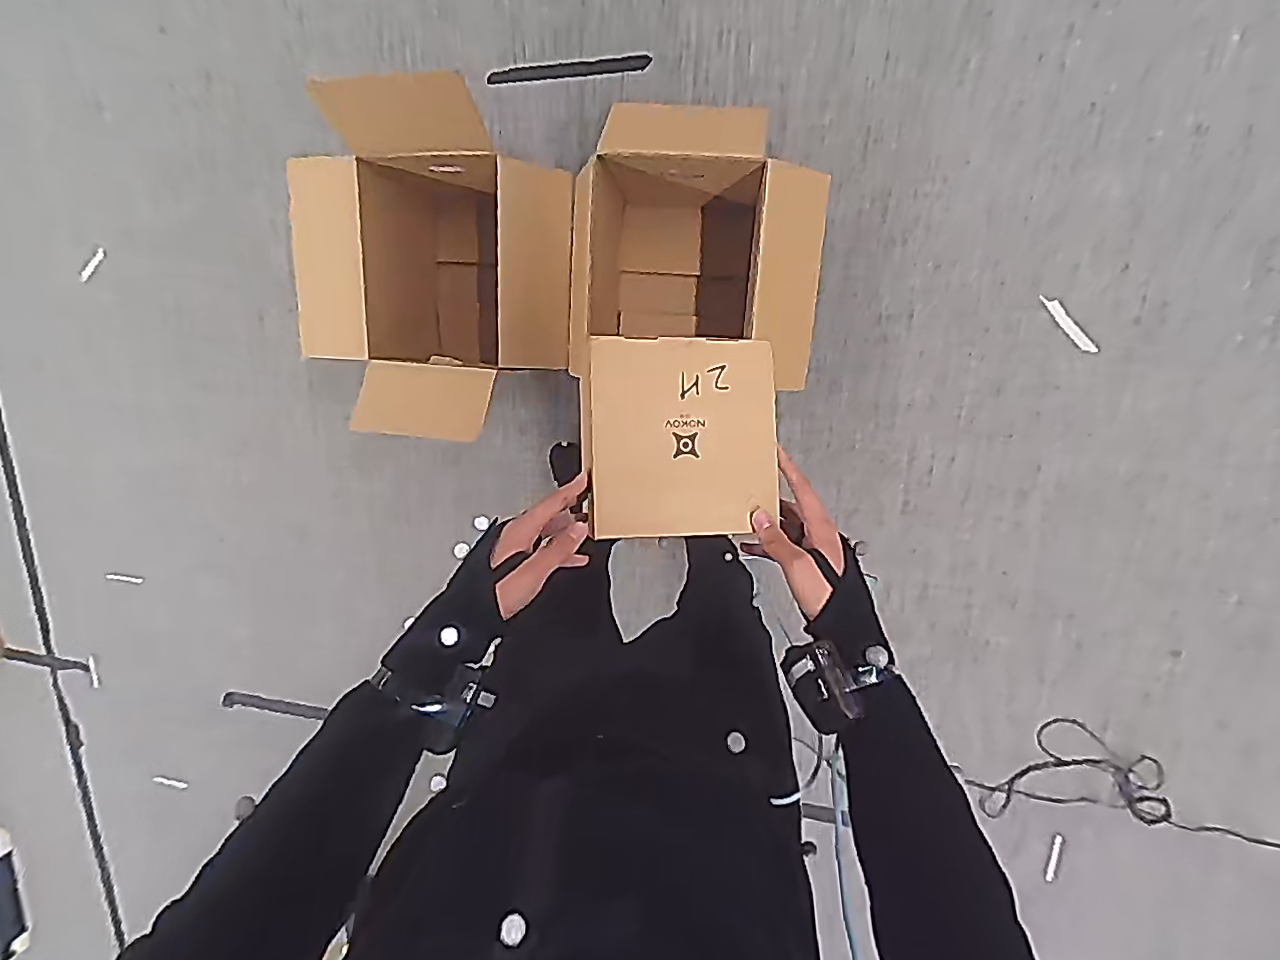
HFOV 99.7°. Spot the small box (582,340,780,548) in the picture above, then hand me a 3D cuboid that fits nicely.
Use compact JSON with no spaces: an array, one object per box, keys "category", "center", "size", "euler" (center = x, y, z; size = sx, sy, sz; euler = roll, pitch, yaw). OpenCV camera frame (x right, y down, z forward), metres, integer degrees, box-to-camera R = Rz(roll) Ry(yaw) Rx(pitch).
[{"category":"small box","center":[0.030,-0.027,0.541],"size":[0.168,0.176,0.179],"euler":[0,87,-9]}]
